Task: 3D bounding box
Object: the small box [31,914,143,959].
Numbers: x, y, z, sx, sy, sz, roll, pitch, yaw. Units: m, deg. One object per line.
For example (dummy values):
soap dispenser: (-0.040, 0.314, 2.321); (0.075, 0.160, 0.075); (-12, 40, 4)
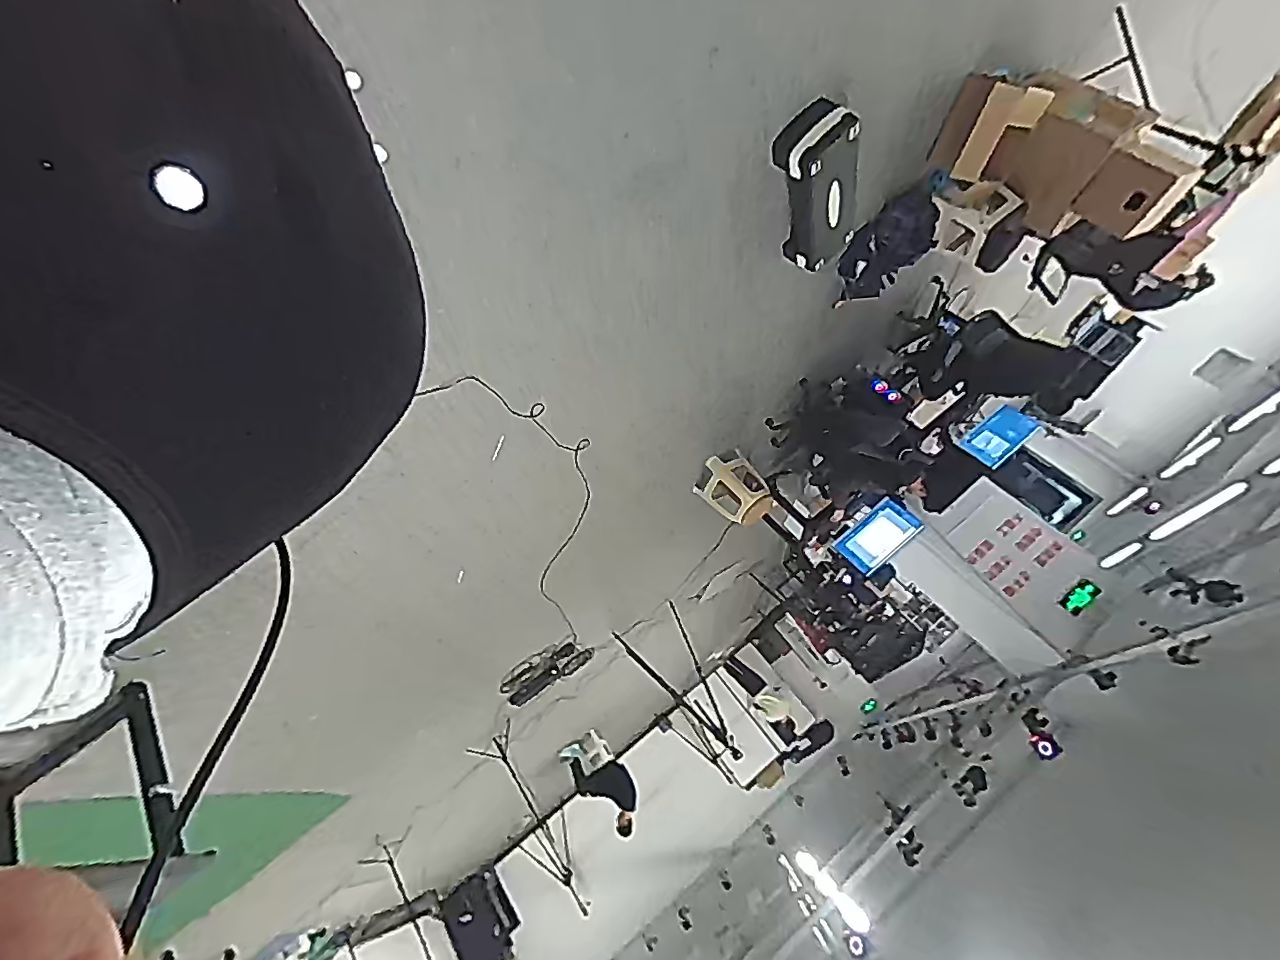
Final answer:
small box: (-1.616, 1.407, 1.569); (0.179, 0.176, 0.168); (-38, 152, -10)
